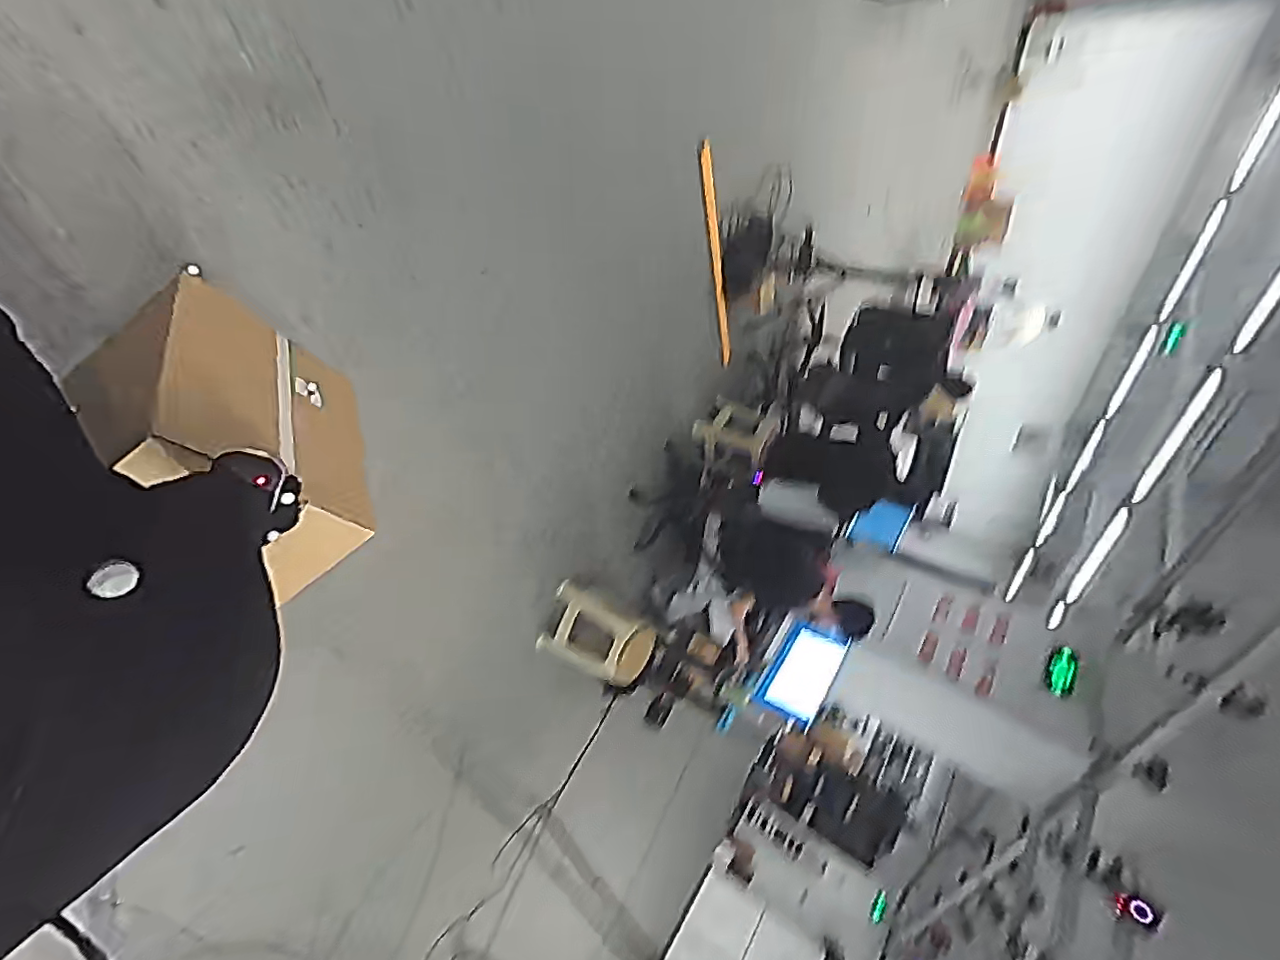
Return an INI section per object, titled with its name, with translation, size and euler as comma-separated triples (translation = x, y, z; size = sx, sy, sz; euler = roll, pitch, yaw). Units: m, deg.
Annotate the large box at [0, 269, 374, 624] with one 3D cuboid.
[large box]
translation = -0.688, -0.042, 0.864
size = 0.320, 0.408, 0.320
euler = -37, 144, 6
